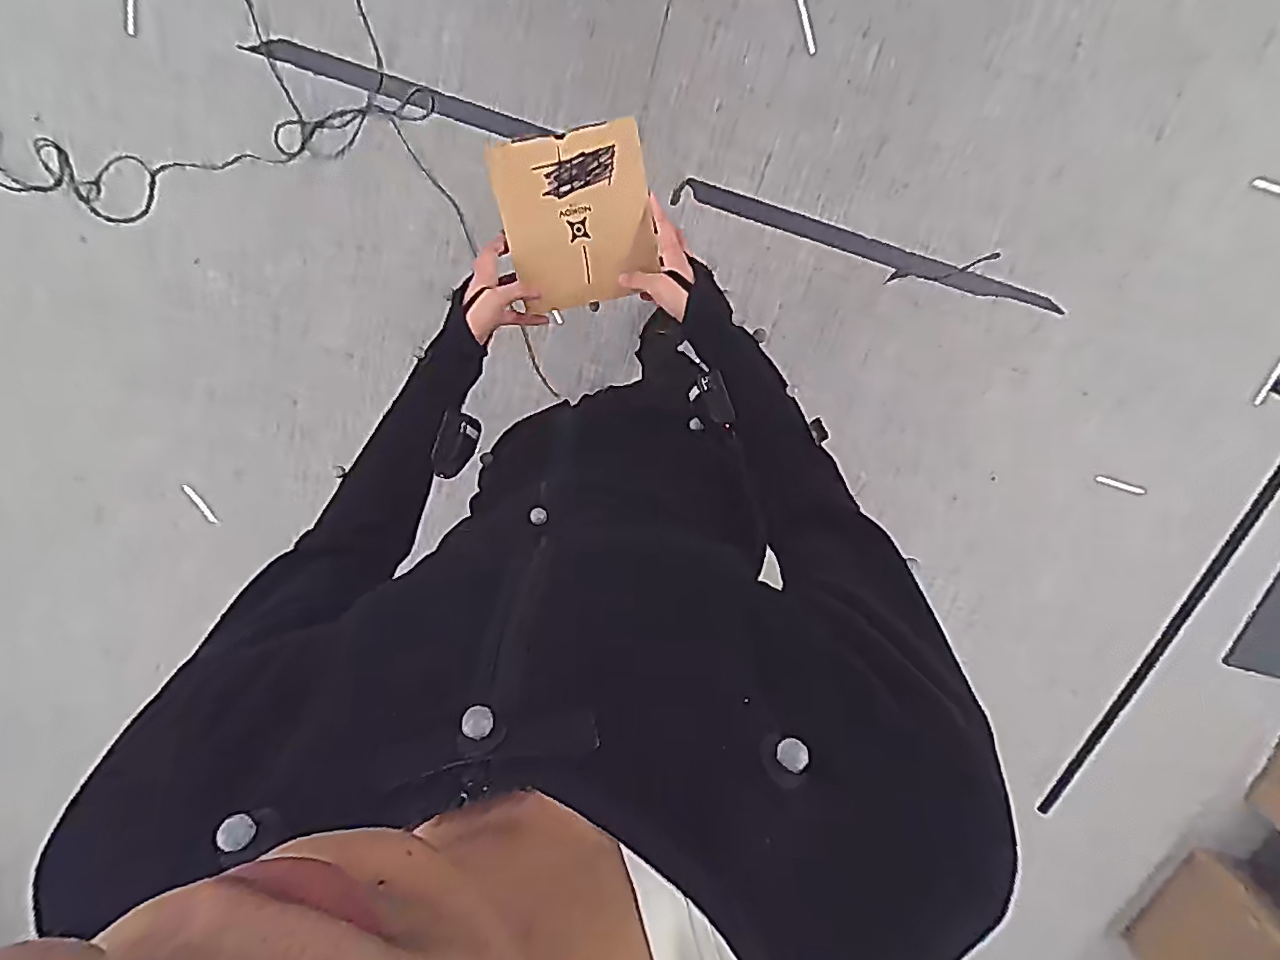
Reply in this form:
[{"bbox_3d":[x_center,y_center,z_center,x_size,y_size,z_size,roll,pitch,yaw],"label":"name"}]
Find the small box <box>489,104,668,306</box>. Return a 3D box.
[{"bbox_3d":[-0.067,-0.318,0.655,0.168,0.176,0.179,-11,112,1],"label":"small box"}]
